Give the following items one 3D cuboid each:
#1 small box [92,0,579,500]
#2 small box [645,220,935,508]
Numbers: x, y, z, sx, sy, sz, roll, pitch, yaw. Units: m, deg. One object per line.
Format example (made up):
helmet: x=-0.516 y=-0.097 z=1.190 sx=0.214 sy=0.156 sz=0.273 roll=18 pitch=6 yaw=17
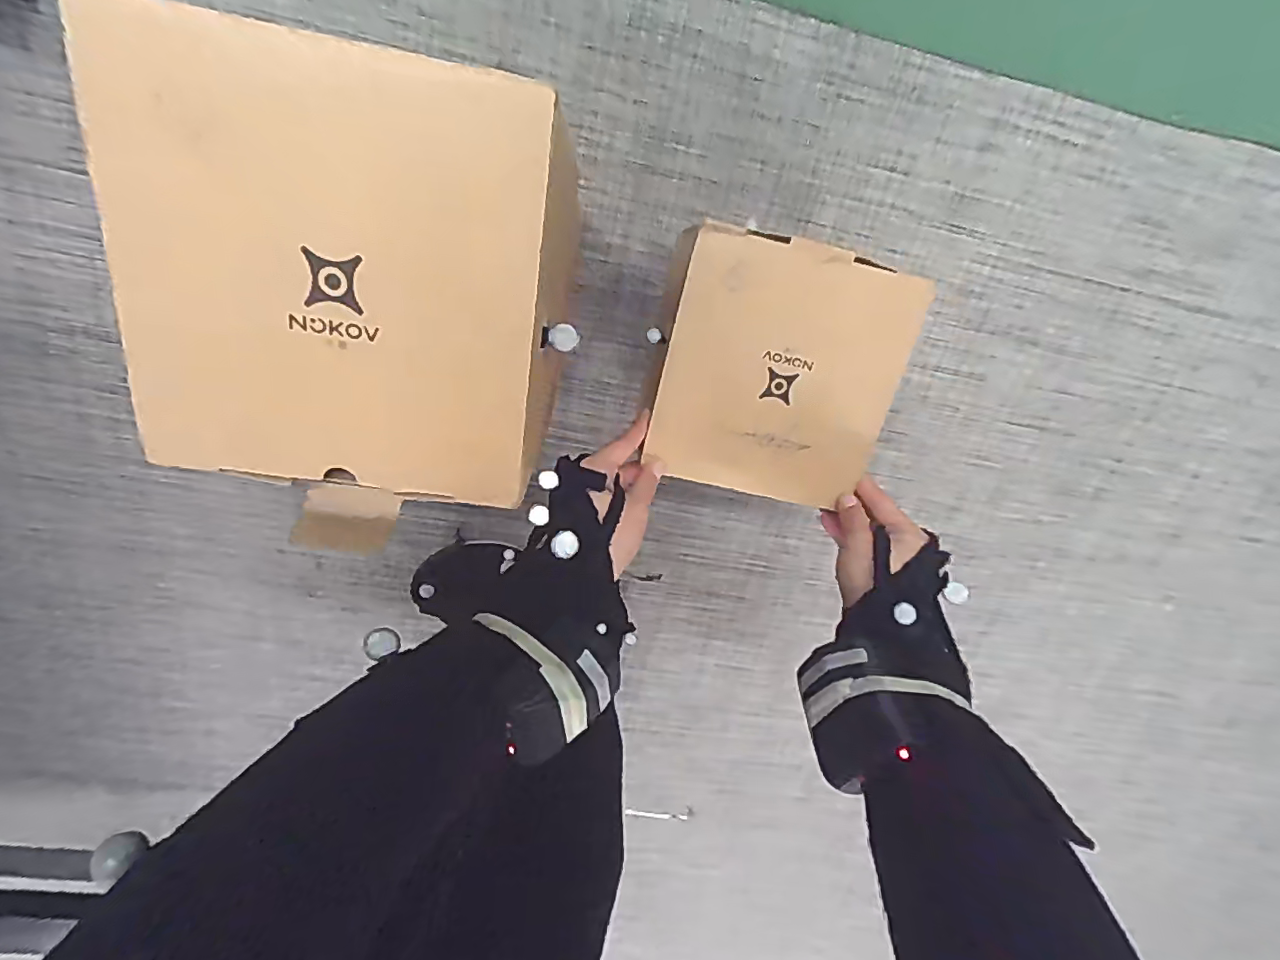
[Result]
small box: x=-0.125 y=-0.109 z=0.297 sx=0.168 sy=0.176 sz=0.179 roll=7 pitch=112 yaw=-7
small box: x=0.100 y=-0.101 z=0.456 sx=0.168 sy=0.176 sz=0.179 roll=12 pitch=112 yaw=-5
